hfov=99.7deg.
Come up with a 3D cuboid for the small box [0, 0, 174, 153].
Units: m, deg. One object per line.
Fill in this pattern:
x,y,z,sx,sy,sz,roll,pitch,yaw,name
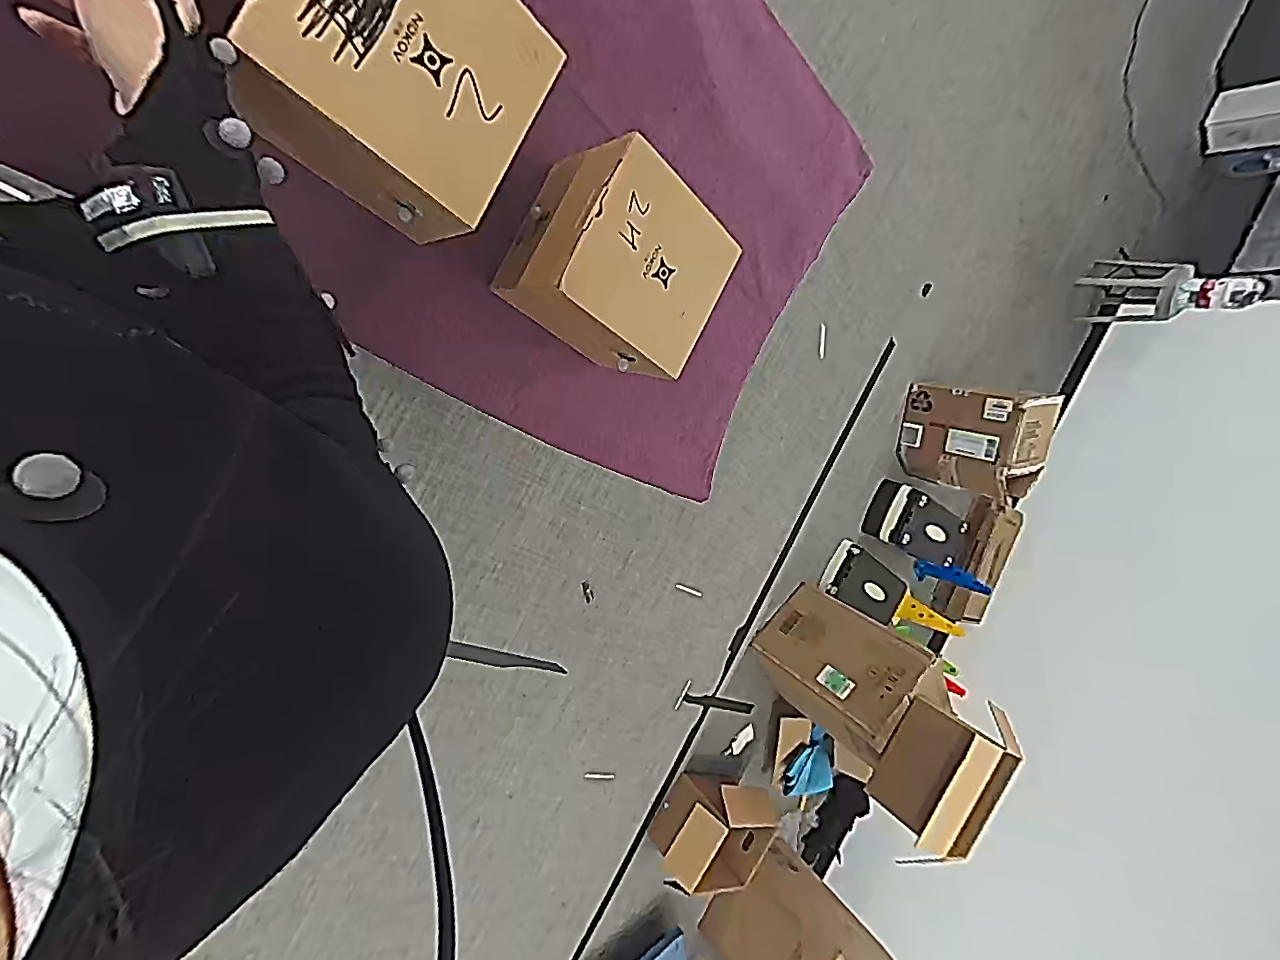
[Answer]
-0.772,-0.576,0.733,0.179,0.176,0.168,22,95,-39,small box
